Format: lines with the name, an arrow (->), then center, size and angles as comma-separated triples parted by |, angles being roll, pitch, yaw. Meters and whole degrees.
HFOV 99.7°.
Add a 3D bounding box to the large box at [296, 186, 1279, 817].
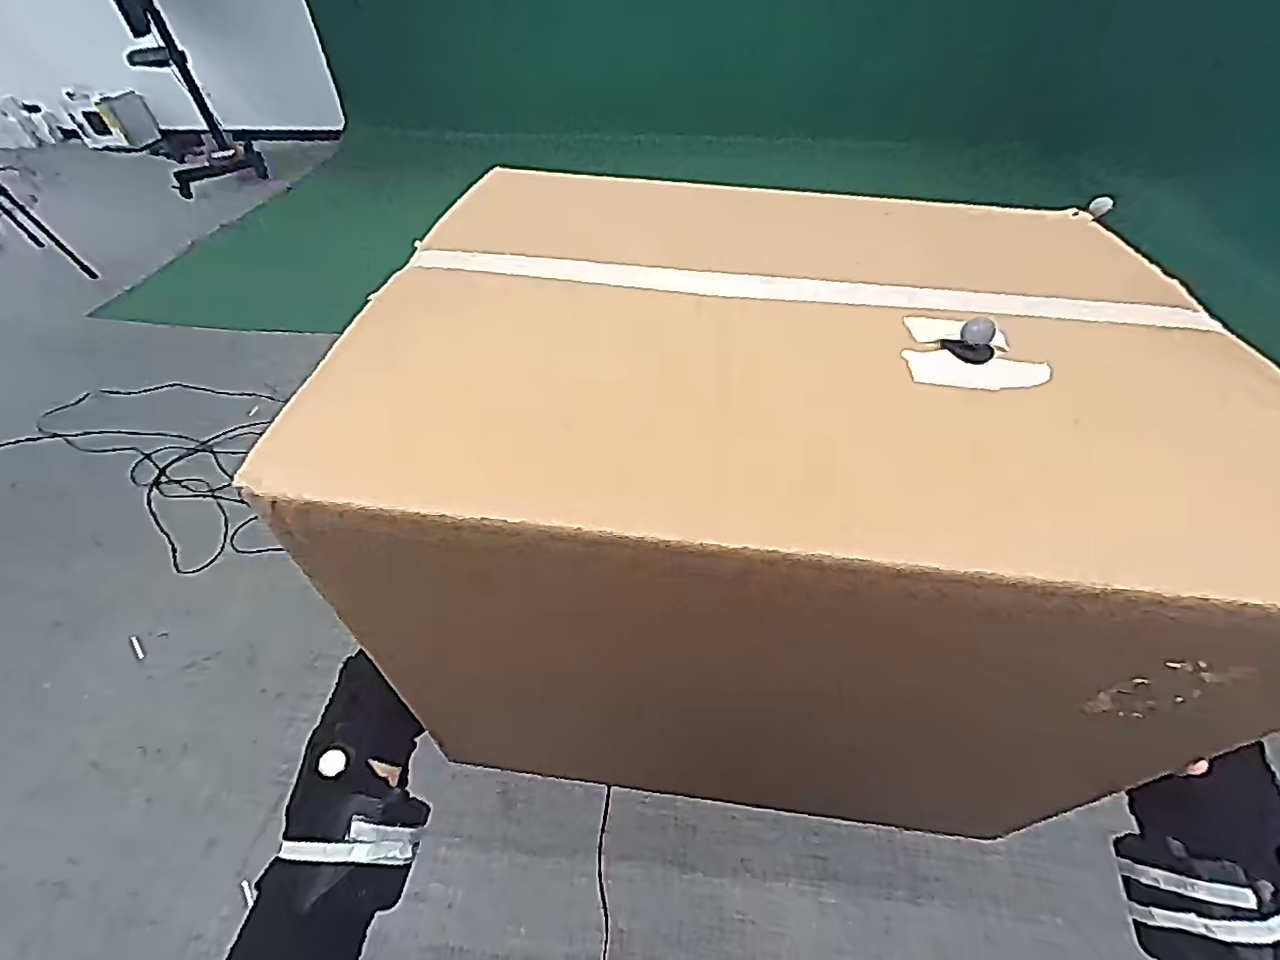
large box -> 0.079, 0.016, 0.395 | 0.408, 0.320, 0.320 | 7, 48, 3
